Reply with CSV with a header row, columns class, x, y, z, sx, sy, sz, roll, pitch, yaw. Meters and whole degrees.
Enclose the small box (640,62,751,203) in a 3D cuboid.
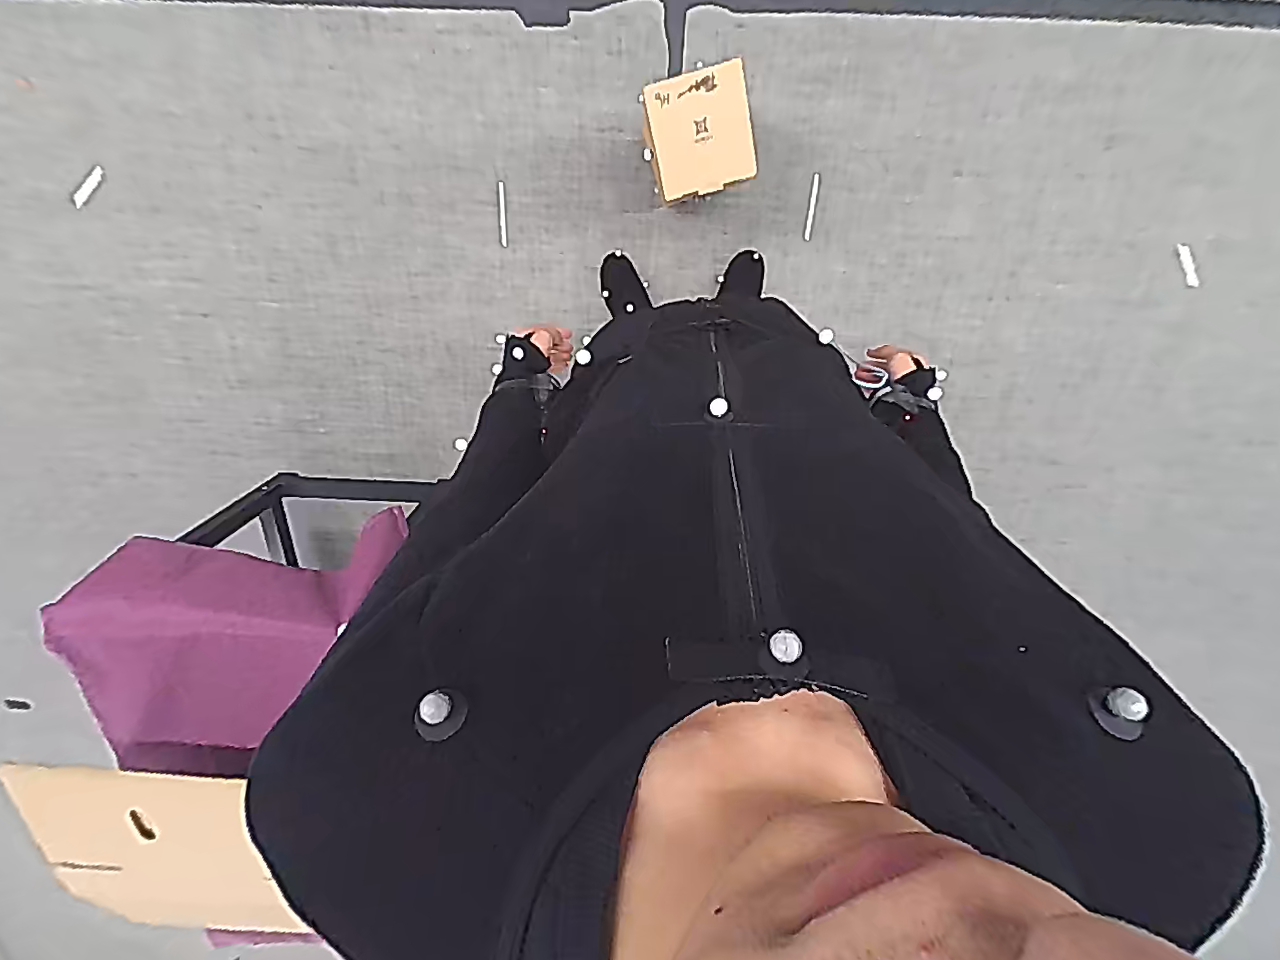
class,x,y,z,sx,sy,sz,roll,pitch,yaw
small box,0.100,-0.621,0.988,0.168,0.176,0.179,-12,115,6
